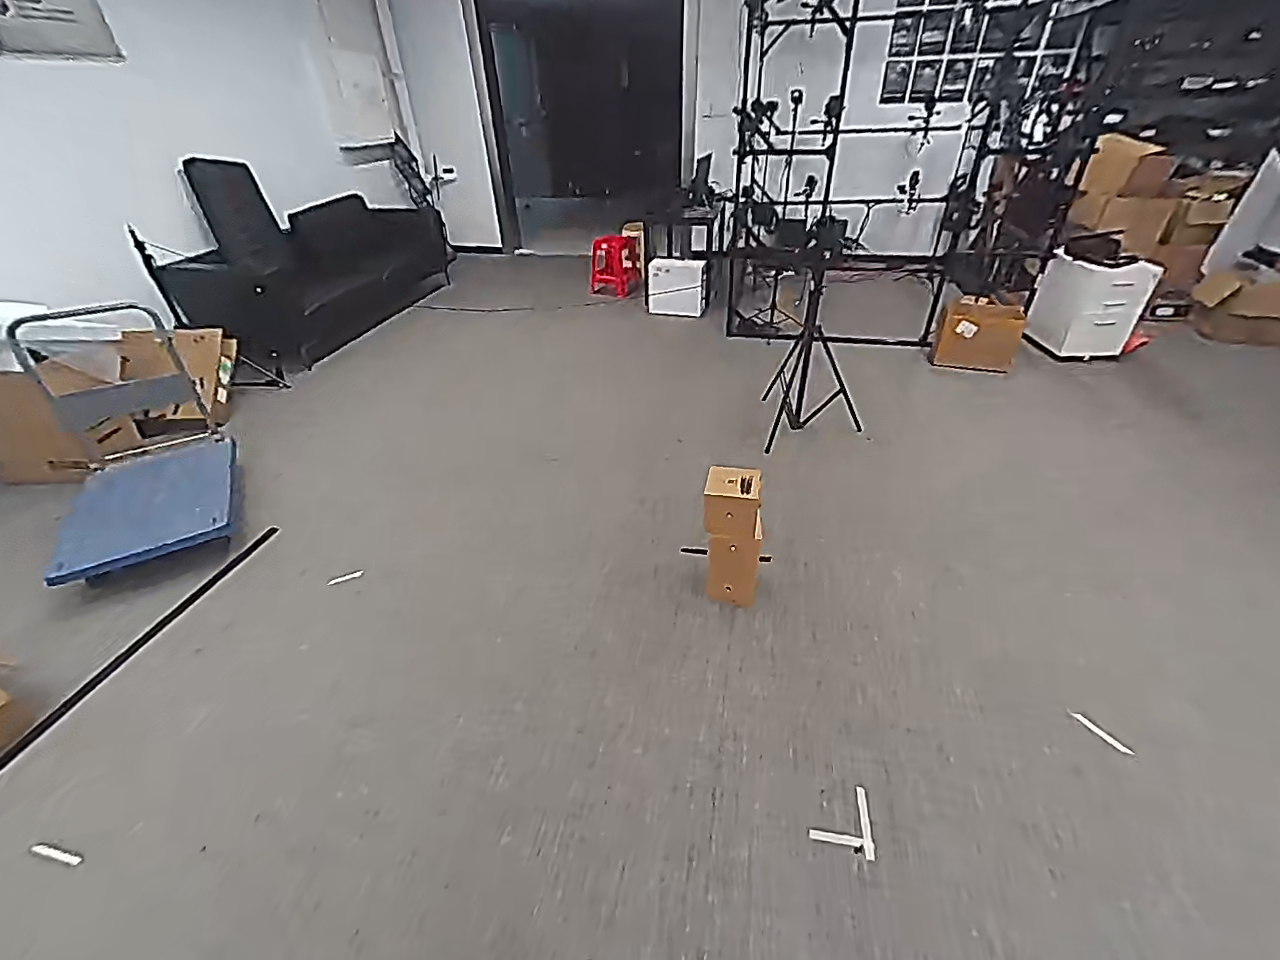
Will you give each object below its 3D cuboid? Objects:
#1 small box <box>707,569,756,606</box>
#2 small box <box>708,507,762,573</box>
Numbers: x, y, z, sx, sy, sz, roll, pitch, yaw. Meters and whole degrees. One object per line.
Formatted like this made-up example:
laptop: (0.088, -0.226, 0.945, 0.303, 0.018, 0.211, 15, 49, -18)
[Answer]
small box: (0.346, 0.344, 2.019, 0.168, 0.176, 0.179, 8, 36, 13)
small box: (0.333, 0.216, 1.918, 0.179, 0.176, 0.168, 1, 35, 7)
